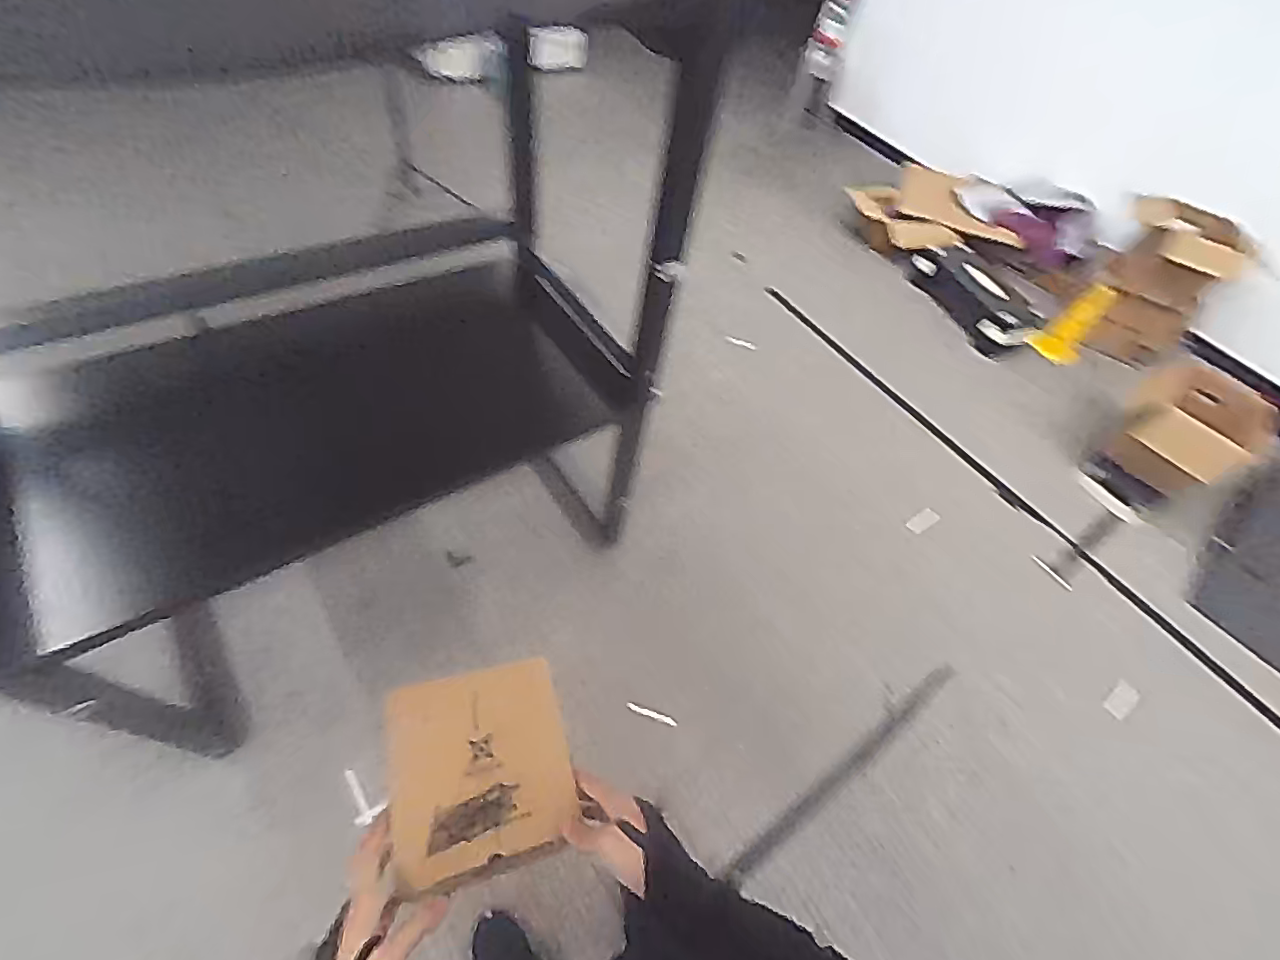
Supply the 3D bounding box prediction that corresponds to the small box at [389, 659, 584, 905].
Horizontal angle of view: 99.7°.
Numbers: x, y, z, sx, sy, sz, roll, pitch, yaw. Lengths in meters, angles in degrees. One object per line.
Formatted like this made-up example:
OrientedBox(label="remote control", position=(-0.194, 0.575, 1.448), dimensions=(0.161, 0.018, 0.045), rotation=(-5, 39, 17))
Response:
OrientedBox(label="small box", position=(-0.165, 0.319, 0.574), dimensions=(0.168, 0.176, 0.179), rotation=(-6, 53, -21))
